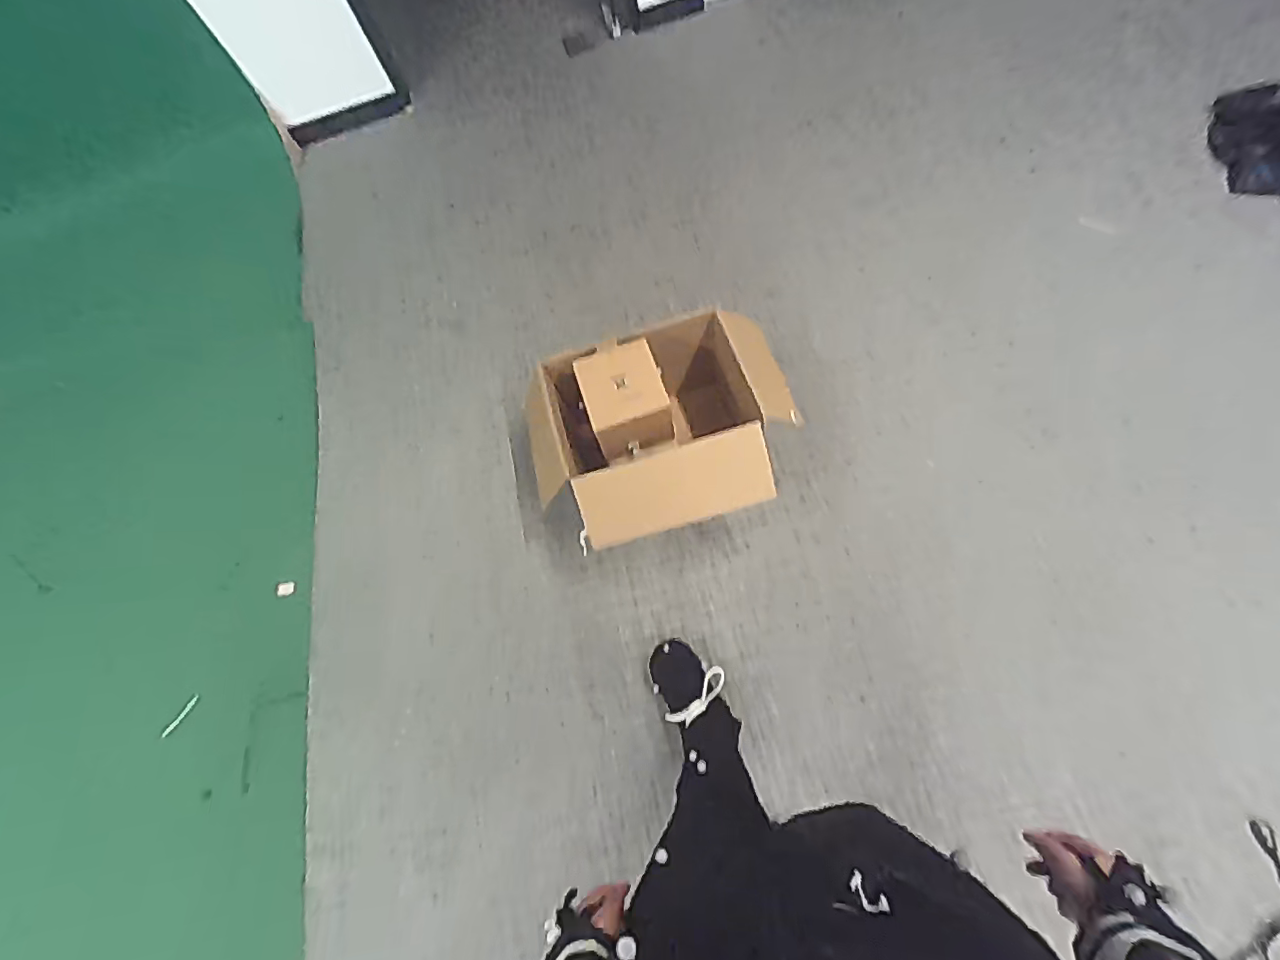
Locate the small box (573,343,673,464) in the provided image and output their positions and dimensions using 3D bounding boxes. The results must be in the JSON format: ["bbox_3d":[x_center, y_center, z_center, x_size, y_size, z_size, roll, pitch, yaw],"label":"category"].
[{"bbox_3d":[-0.033,-0.160,1.178,0.168,0.176,0.179,-19,68,0],"label":"small box"}]
